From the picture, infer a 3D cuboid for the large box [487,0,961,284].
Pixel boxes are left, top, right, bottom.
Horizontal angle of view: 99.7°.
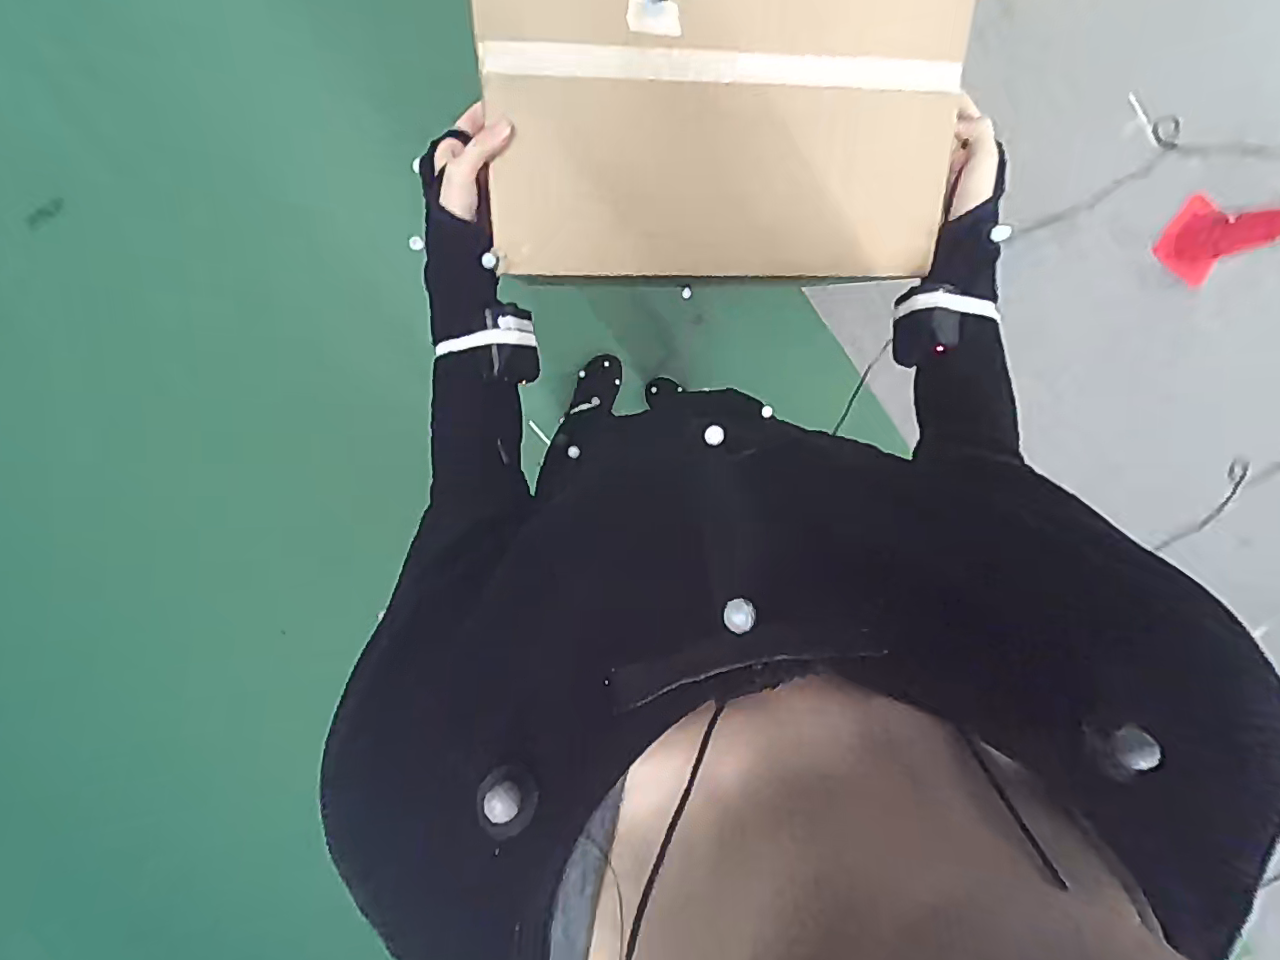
[{"bbox_3d":[0.063,-0.386,0.603,0.408,0.320,0.320,-1,107,-5],"label":"large box"}]
